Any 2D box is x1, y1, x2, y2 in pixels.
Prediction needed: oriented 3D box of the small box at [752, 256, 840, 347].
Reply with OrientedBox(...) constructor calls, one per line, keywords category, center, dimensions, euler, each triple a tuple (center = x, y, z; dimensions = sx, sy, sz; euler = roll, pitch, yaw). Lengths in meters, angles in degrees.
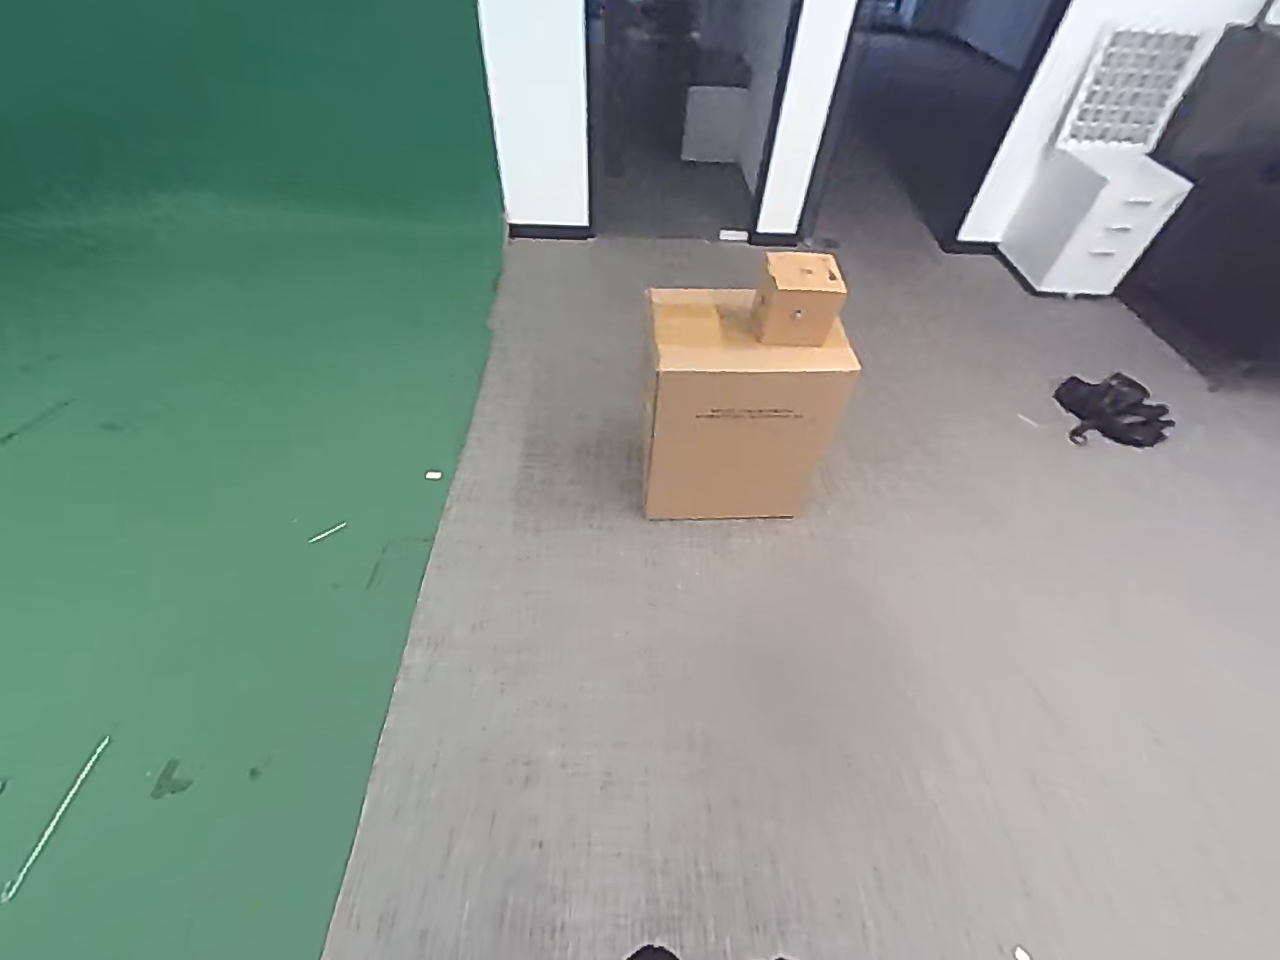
OrientedBox(category="small box", center=(0.400, -0.468, 1.427), dimensions=(0.179, 0.176, 0.168), euler=(0, 54, -3))
